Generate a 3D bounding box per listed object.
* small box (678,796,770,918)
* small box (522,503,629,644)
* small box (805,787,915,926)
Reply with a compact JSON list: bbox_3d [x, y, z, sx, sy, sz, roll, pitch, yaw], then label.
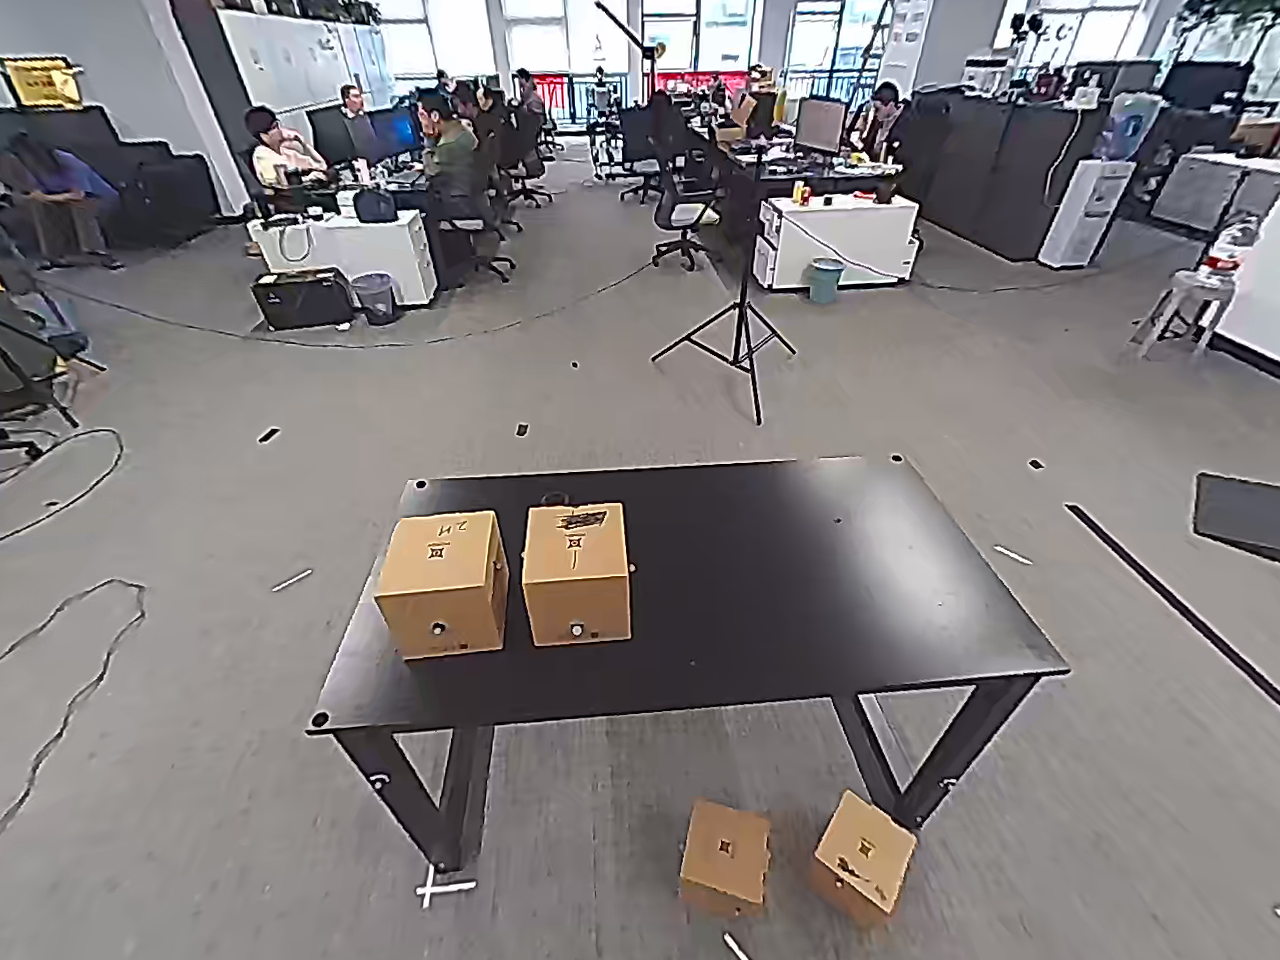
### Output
[{"bbox_3d":[0.190,0.863,1.234,0.179,0.176,0.168,9,39,14],"label":"small box"},{"bbox_3d":[-0.106,0.162,0.946,0.168,0.176,0.179,-4,39,-3],"label":"small box"},{"bbox_3d":[0.493,0.855,1.231,0.168,0.176,0.179,26,46,30],"label":"small box"}]
